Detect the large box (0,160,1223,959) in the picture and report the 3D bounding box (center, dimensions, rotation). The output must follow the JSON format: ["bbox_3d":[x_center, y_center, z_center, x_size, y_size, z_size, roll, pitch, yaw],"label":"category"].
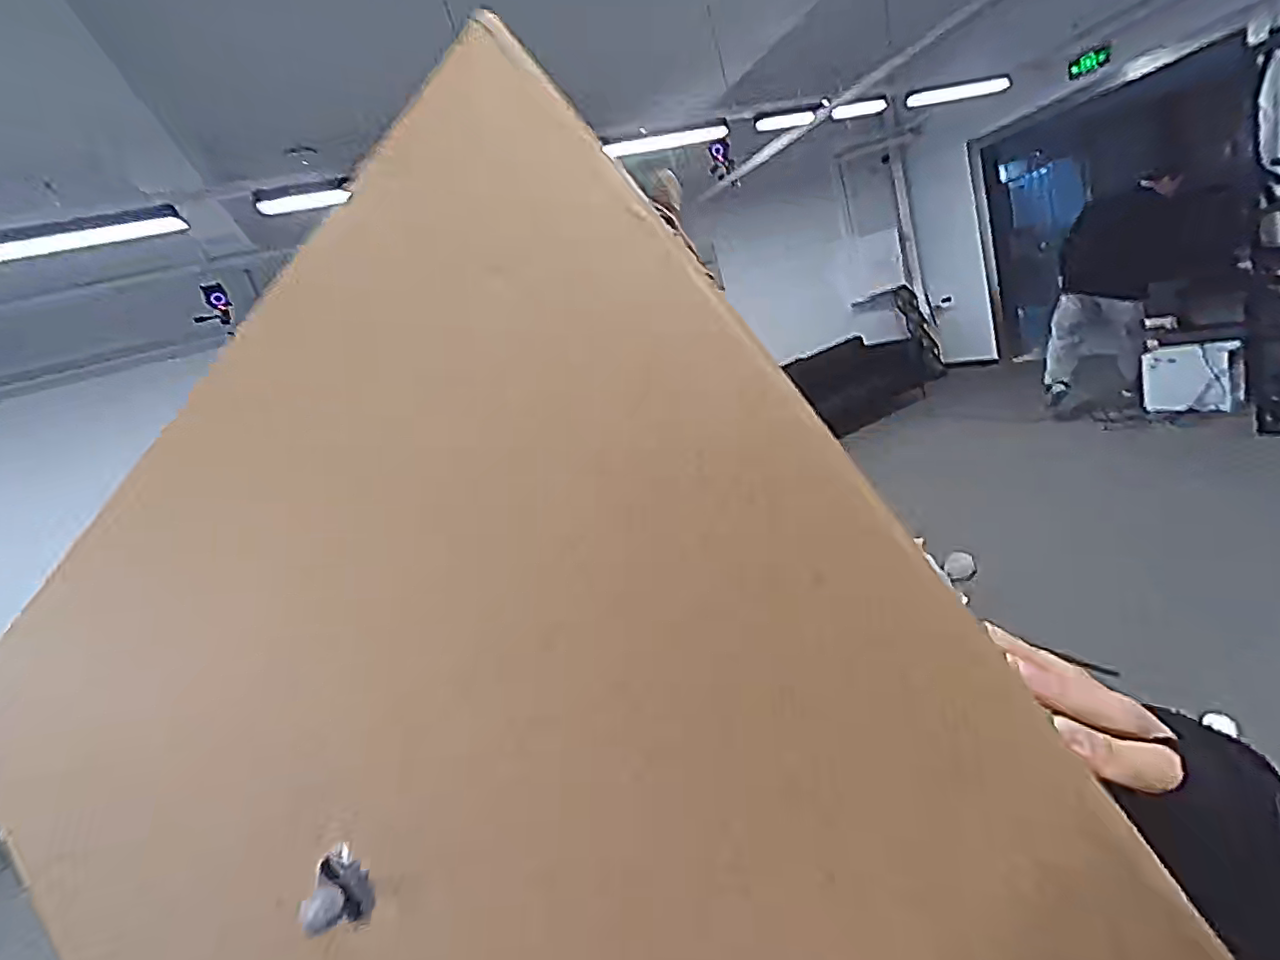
[{"bbox_3d":[-0.041,0.124,0.336,0.408,0.320,0.320,-39,-4,18],"label":"large box"}]
